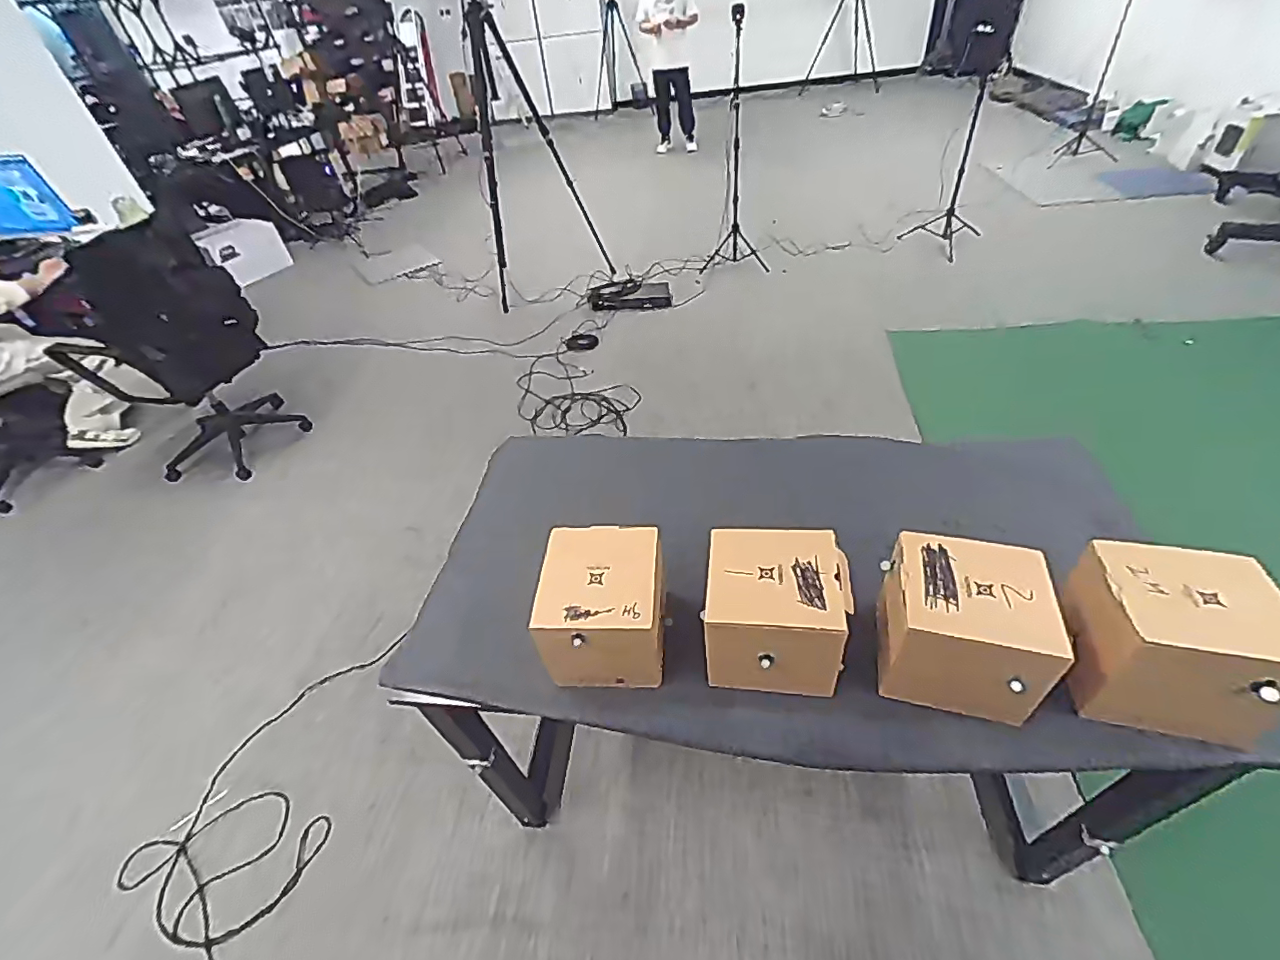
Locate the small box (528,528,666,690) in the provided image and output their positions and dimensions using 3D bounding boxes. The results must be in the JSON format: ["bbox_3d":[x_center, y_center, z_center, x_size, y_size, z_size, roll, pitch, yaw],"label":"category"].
[{"bbox_3d":[-0.051,0.191,0.814,0.168,0.176,0.179,-2,43,9],"label":"small box"}]
